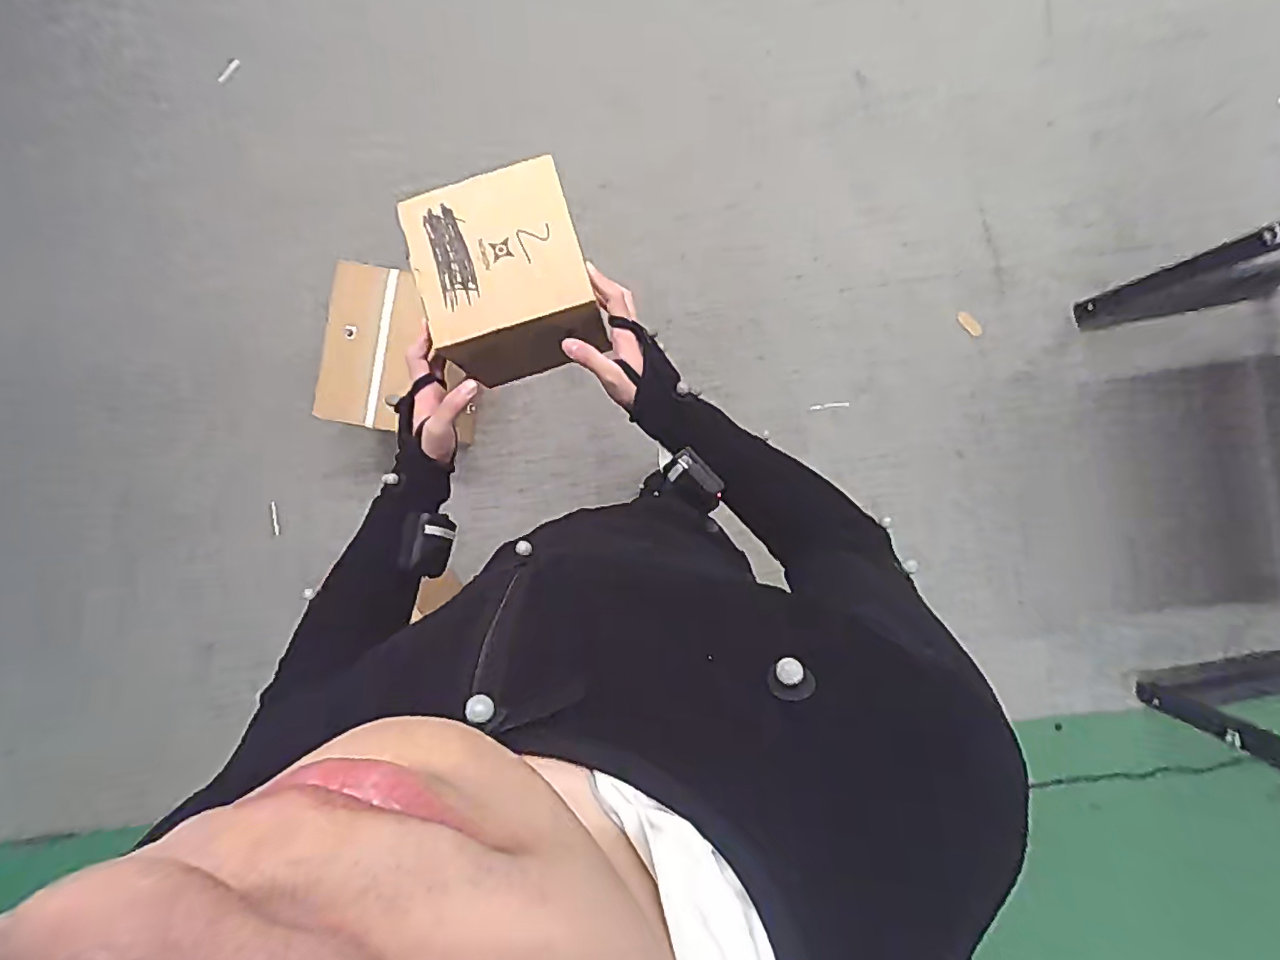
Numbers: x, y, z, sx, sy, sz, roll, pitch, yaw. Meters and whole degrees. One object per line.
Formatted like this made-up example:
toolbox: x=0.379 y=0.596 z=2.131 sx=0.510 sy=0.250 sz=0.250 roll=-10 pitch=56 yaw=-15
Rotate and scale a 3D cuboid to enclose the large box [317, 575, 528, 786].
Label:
large box: x=-0.585 y=0.538 z=1.529 sx=0.320 sy=0.320 sz=0.408 roll=-40 pitch=90 yaw=3
